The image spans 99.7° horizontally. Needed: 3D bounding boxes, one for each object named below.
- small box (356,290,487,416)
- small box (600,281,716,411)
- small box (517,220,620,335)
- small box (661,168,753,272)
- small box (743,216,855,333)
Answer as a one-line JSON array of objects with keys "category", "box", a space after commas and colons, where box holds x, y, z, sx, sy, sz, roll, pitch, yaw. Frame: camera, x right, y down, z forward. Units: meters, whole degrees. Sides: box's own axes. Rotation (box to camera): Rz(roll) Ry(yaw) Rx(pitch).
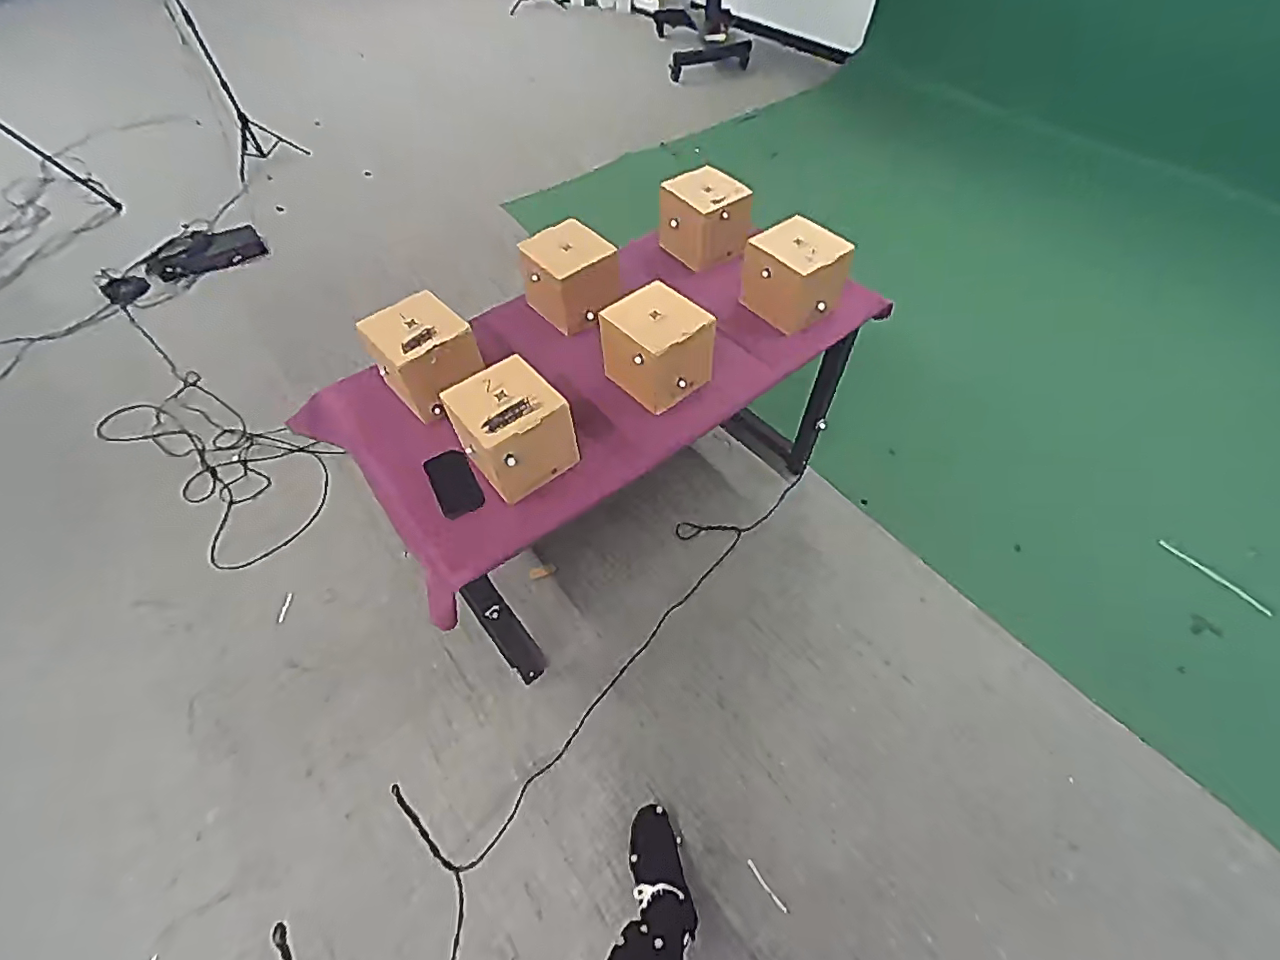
[{"category": "small box", "box": [-0.447, -0.257, 1.131, 0.168, 0.176, 0.179, -37, 61, -23]}, {"category": "small box", "box": [0.035, -0.278, 1.135, 0.168, 0.176, 0.179, -35, 61, -22]}, {"category": "small box", "box": [-0.164, -0.478, 1.282, 0.168, 0.176, 0.179, -35, 62, -20]}, {"category": "small box", "box": [0.169, -0.679, 1.415, 0.168, 0.176, 0.179, -32, 60, -19]}, {"category": "small box", "box": [0.359, -0.476, 1.262, 0.168, 0.176, 0.179, -32, 60, -18]}]
